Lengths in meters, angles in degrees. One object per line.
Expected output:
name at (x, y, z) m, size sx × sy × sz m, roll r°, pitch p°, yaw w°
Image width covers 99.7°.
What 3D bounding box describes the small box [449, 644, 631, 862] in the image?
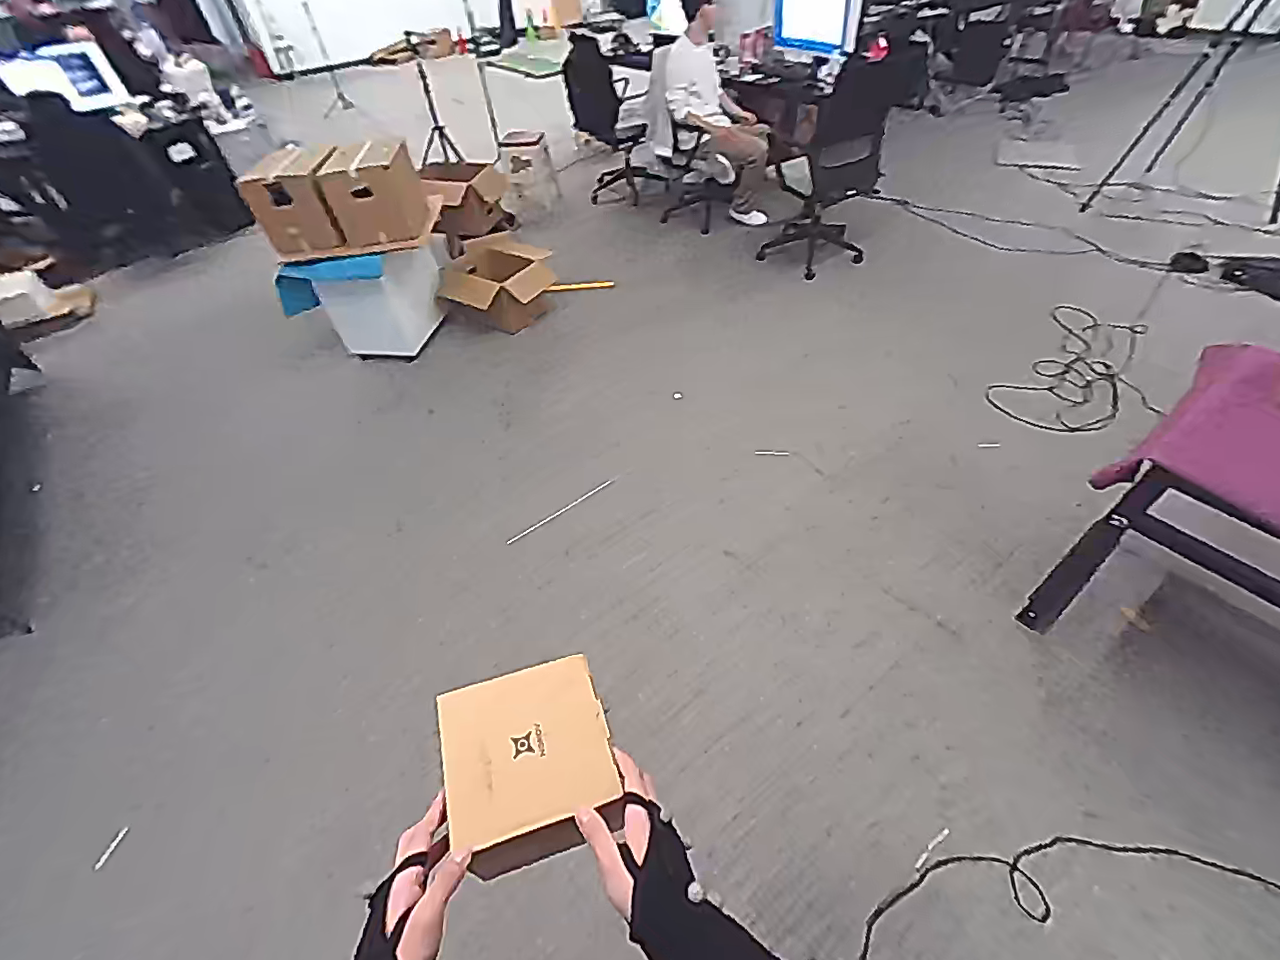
small box at (-0.117, 0.326, 0.645) m, size 0.179 × 0.176 × 0.168 m, roll -12°, pitch 49°, yaw -12°
